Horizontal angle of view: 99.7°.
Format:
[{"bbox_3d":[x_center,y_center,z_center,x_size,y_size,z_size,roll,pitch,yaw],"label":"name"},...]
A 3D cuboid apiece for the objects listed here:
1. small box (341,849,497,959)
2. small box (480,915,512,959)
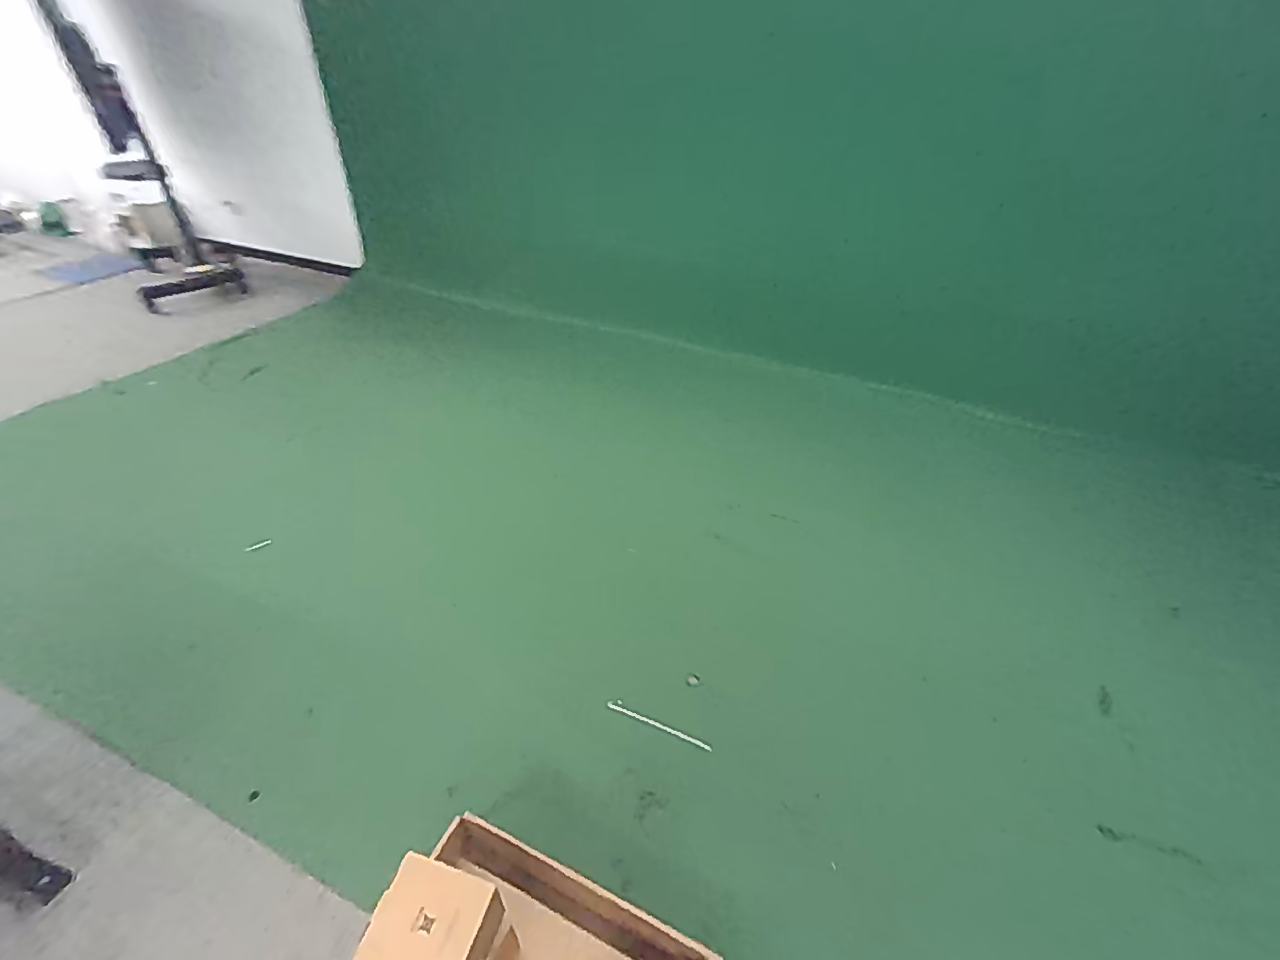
[{"bbox_3d":[-0.363,0.774,0.924,0.179,0.176,0.168,13,41,9],"label":"small box"},{"bbox_3d":[-0.367,0.903,1.027,0.179,0.176,0.168,18,42,18],"label":"small box"}]
